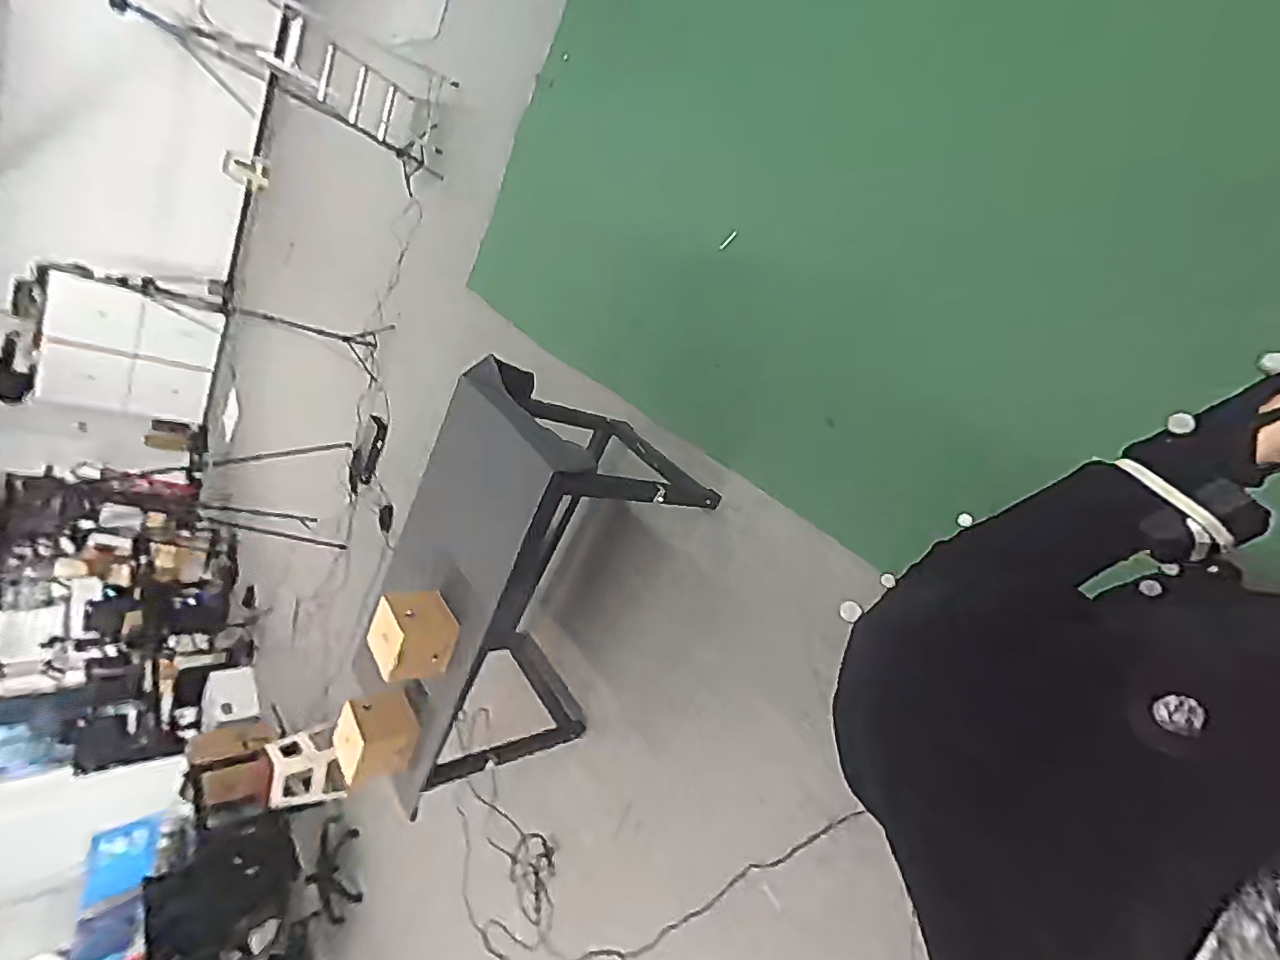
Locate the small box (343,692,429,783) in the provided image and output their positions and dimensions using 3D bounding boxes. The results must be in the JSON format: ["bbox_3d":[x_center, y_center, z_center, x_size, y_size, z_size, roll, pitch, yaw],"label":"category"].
[{"bbox_3d":[-0.769,0.769,1.638,0.179,0.176,0.168,38,111,39],"label":"small box"}]

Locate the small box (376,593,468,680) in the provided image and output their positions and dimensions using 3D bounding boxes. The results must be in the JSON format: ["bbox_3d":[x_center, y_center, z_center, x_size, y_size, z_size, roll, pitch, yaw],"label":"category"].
[{"bbox_3d":[-0.623,0.437,1.543,0.179,0.176,0.168,39,111,38],"label":"small box"}]
